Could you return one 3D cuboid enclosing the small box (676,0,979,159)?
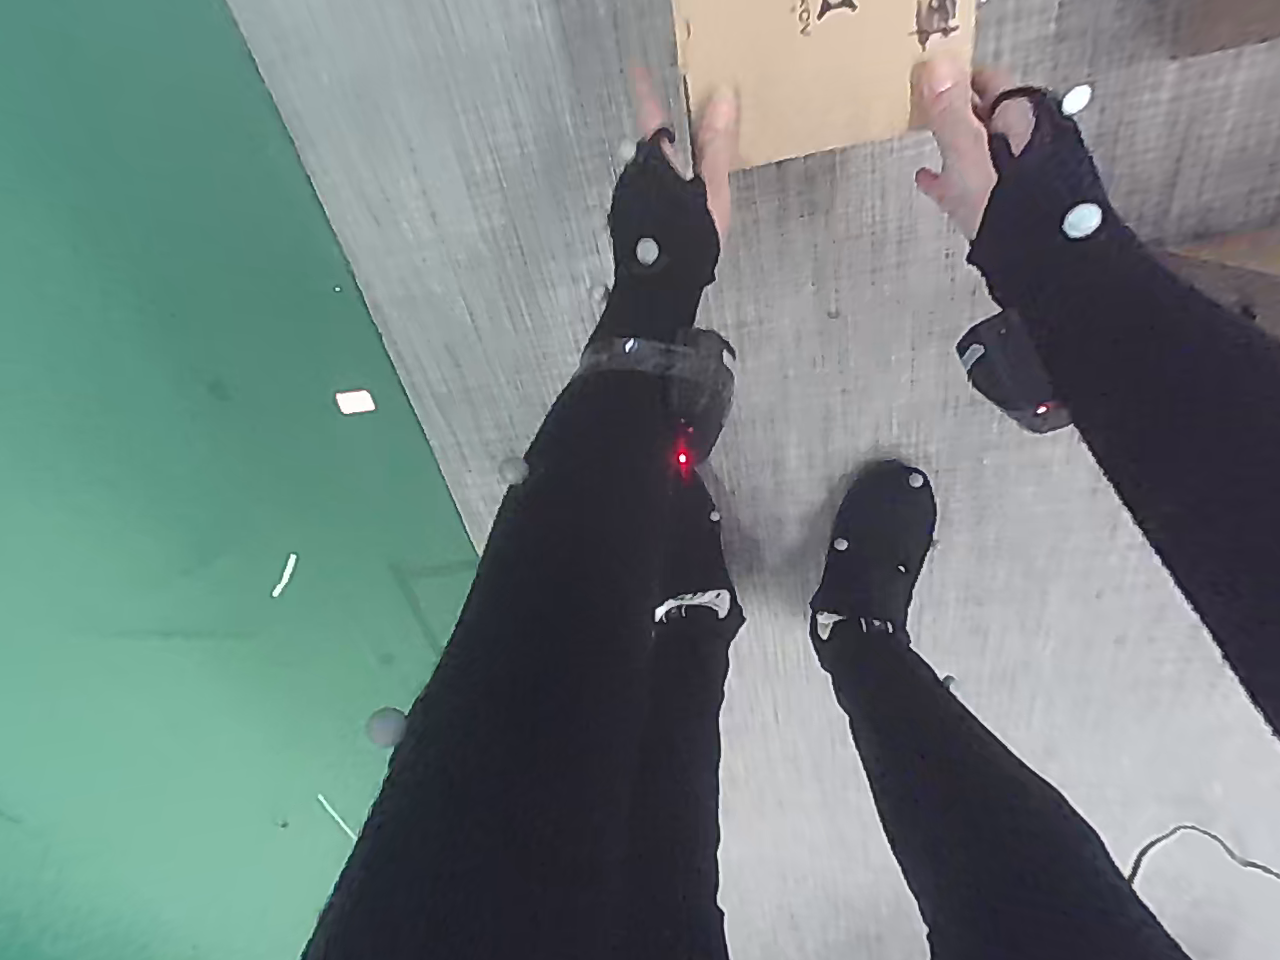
[{"bbox_3d":[0.119,-0.336,0.386,0.179,0.176,0.168,-5,120,11],"label":"small box"}]
